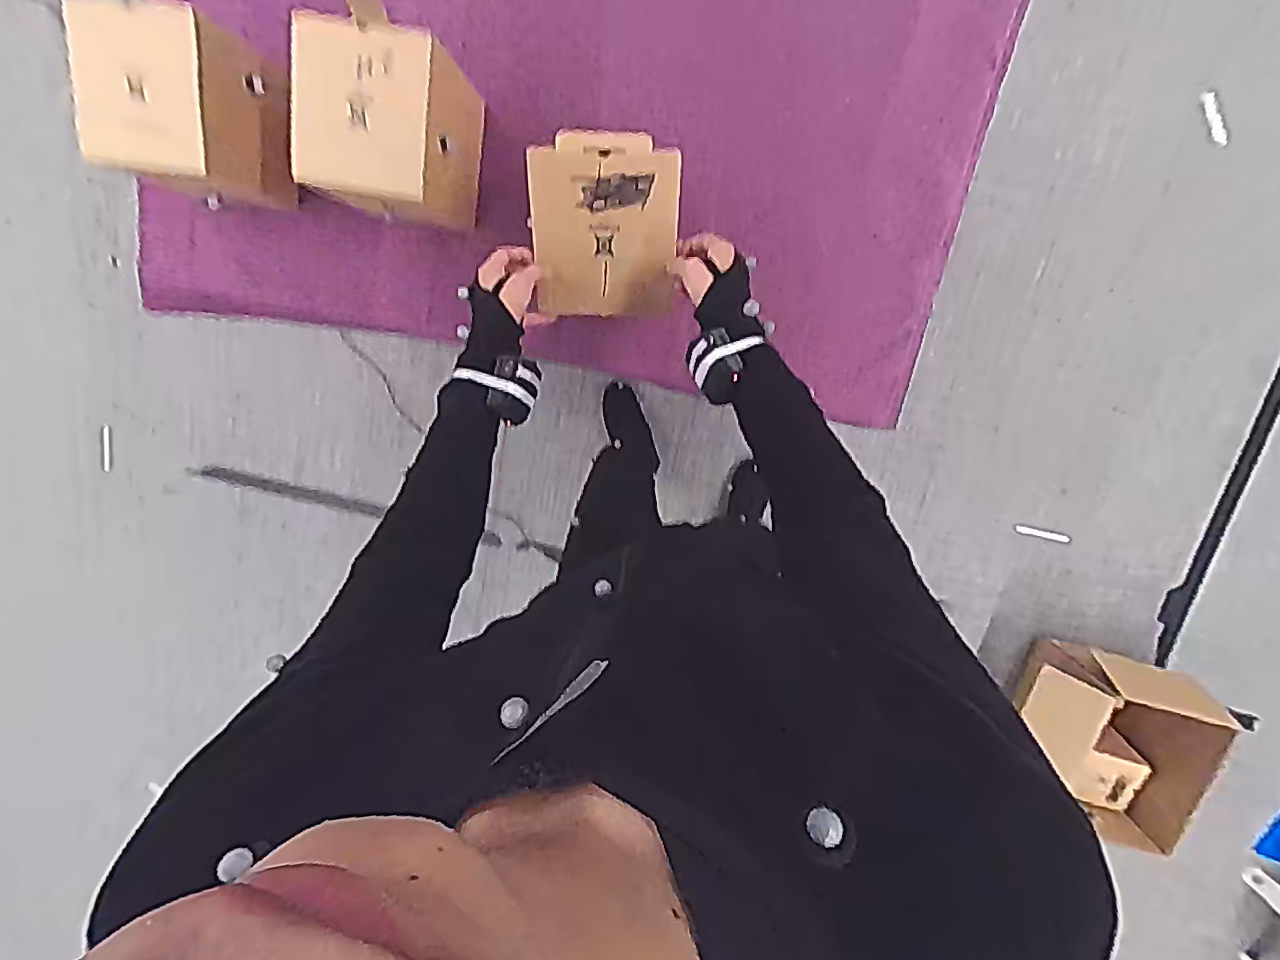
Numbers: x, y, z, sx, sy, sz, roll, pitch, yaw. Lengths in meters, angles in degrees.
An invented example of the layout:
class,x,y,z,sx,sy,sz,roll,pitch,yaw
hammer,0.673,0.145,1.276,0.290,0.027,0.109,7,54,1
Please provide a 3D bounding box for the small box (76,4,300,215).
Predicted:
class,x,y,z,sx,sy,sz,roll,pitch,yaw
small box,-0.589,-0.481,0.728,0.168,0.176,0.179,8,102,3

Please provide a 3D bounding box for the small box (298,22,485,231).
class,x,y,z,sx,sy,sz,roll,pitch,yaw
small box,-0.317,-0.446,0.715,0.168,0.176,0.179,10,103,2

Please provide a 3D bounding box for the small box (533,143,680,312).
class,x,y,z,sx,sy,sz,roll,pitch,yaw
small box,-0.041,-0.320,0.700,0.168,0.176,0.179,1,115,-1
